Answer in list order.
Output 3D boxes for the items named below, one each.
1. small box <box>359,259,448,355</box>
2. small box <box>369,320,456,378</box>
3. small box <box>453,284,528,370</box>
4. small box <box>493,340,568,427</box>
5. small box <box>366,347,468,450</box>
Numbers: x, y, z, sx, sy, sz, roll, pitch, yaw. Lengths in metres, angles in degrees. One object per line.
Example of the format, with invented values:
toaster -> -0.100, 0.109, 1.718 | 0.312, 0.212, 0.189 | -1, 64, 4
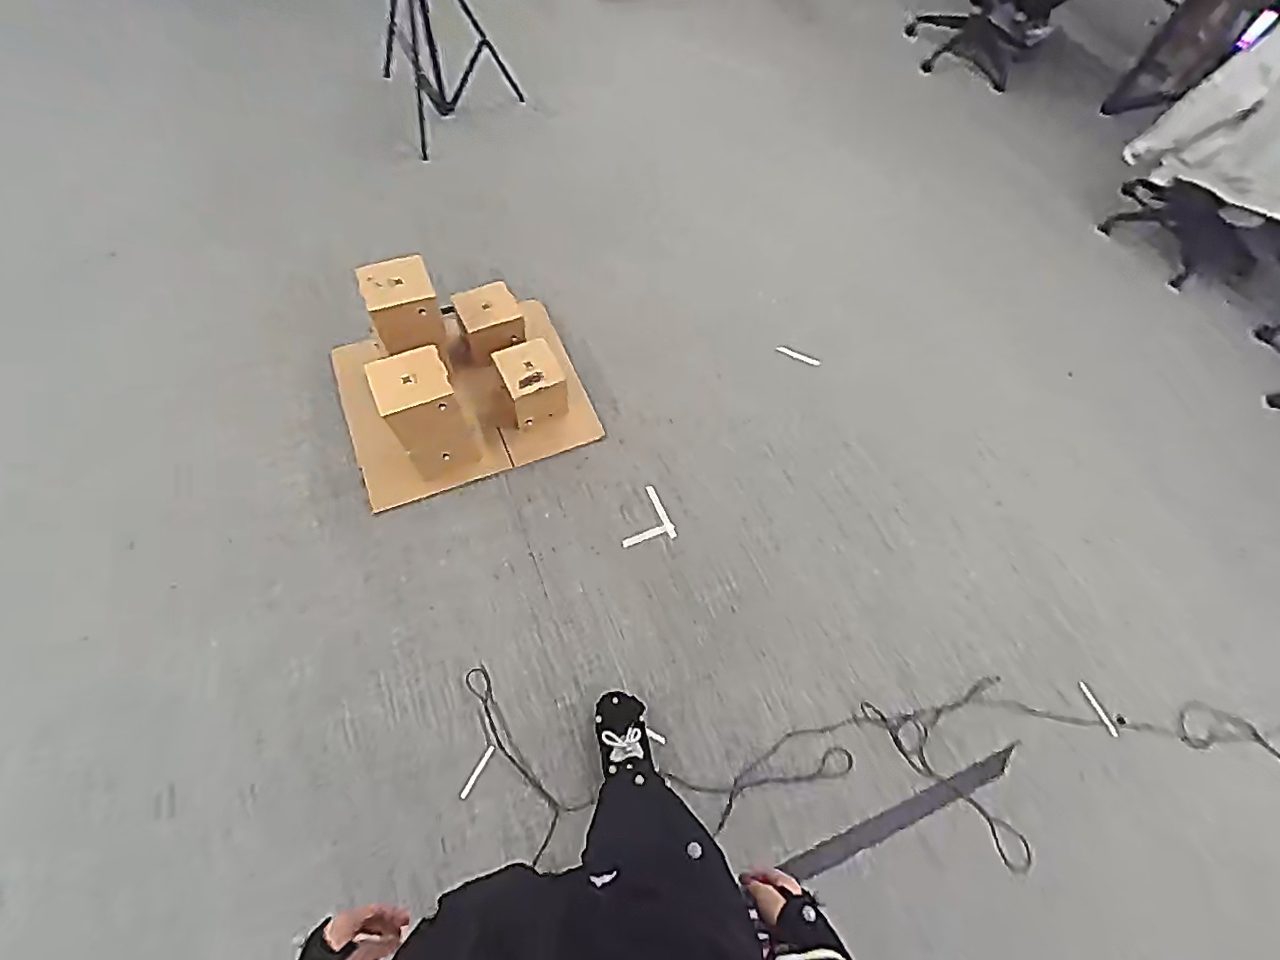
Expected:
small box -> -0.646, -0.475, 1.496 | 0.179, 0.176, 0.168 | -20, 66, -15
small box -> -0.683, -0.393, 1.637 | 0.179, 0.176, 0.168 | -24, 69, -16
small box -> -0.465, -0.479, 1.707 | 0.179, 0.176, 0.168 | -24, 67, -16
small box -> -0.321, -0.280, 1.619 | 0.168, 0.176, 0.179 | -23, 68, -16
small box -> -0.557, -0.200, 1.368 | 0.179, 0.176, 0.168 | -22, 68, -16
